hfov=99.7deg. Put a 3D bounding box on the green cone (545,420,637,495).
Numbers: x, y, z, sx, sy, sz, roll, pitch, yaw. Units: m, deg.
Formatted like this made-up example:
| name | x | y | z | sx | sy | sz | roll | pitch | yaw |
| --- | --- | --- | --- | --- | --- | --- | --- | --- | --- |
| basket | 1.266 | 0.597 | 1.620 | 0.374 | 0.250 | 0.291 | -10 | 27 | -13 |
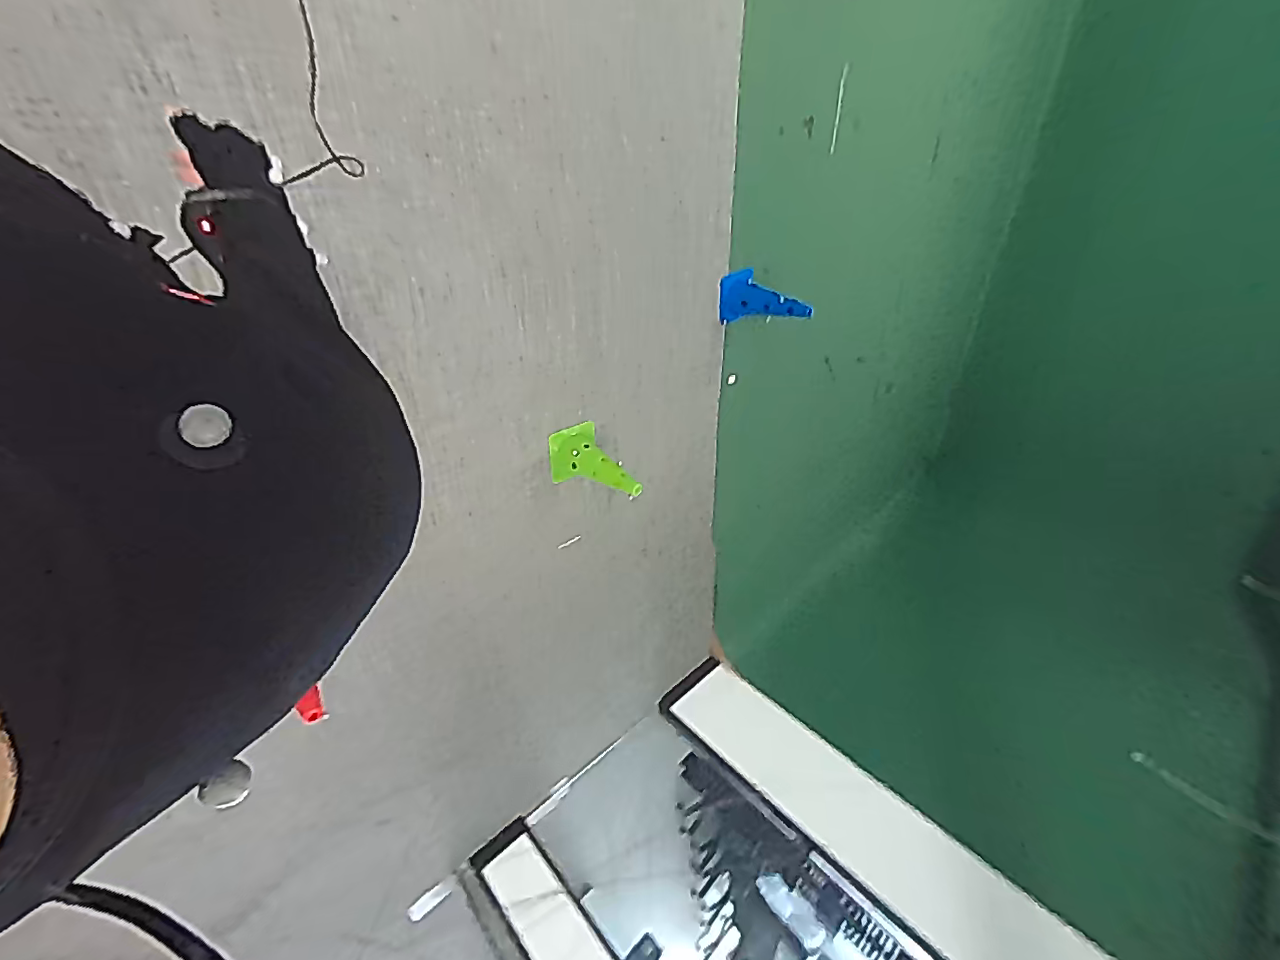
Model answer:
| name | x | y | z | sx | sy | sz | roll | pitch | yaw |
| --- | --- | --- | --- | --- | --- | --- | --- | --- | --- |
| green cone | -0.138 | -0.043 | 1.853 | 0.202 | 0.368 | 0.200 | -26 | 130 | -34 |
